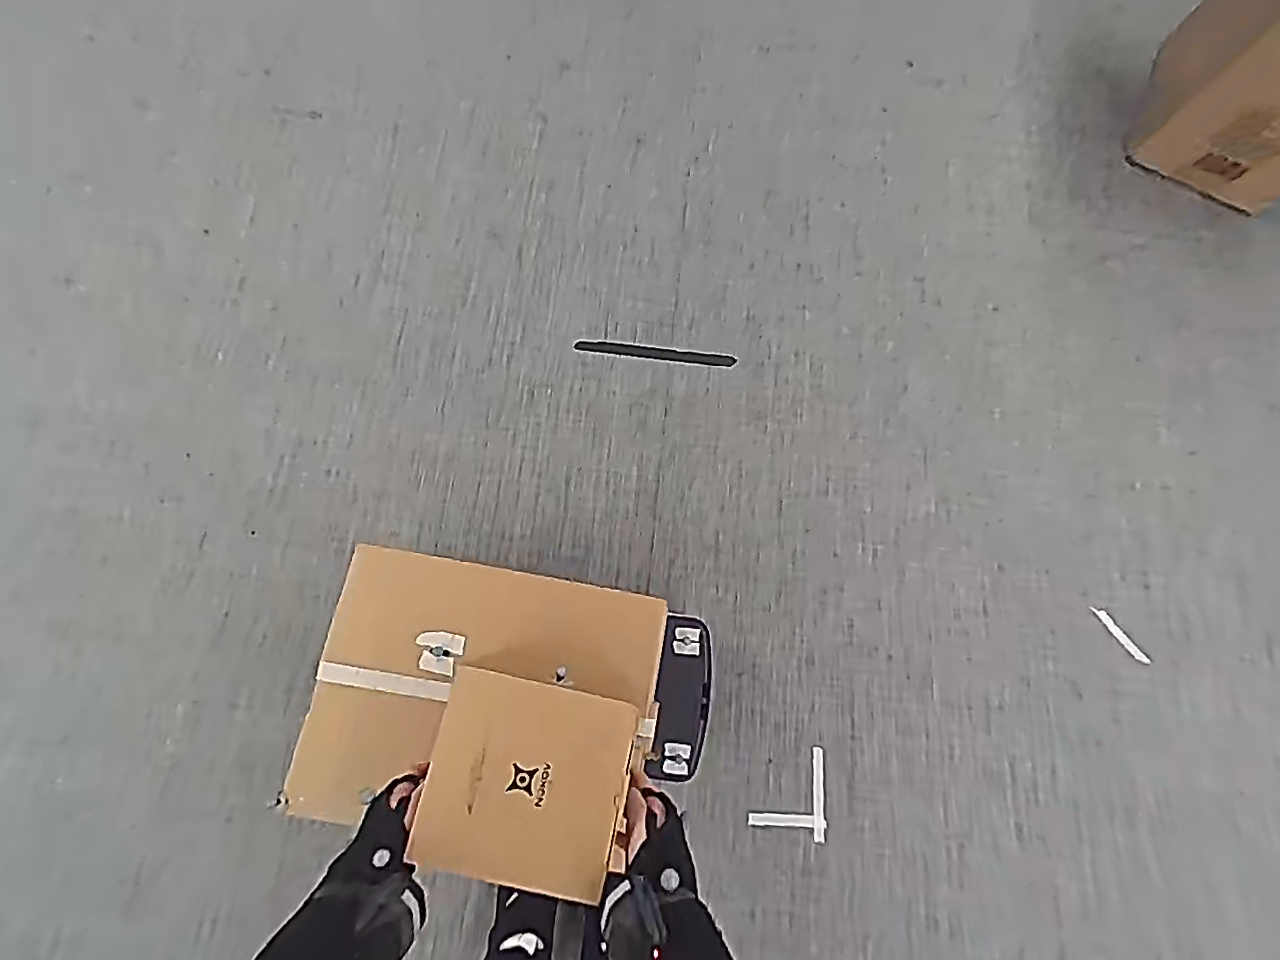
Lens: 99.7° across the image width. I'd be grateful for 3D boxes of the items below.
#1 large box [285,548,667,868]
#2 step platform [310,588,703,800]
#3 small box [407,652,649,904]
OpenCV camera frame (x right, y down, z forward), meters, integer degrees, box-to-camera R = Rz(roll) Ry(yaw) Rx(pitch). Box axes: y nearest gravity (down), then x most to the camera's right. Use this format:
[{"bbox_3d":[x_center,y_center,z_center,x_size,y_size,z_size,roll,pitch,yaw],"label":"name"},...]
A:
[{"bbox_3d":[-0.189,0.299,0.791,0.408,0.320,0.320,10,75,0],"label":"large box"},{"bbox_3d":[-0.226,0.366,1.018,0.684,0.204,0.286,13,75,0],"label":"step platform"},{"bbox_3d":[-0.098,0.278,0.549,0.179,0.176,0.168,14,76,0],"label":"small box"}]
